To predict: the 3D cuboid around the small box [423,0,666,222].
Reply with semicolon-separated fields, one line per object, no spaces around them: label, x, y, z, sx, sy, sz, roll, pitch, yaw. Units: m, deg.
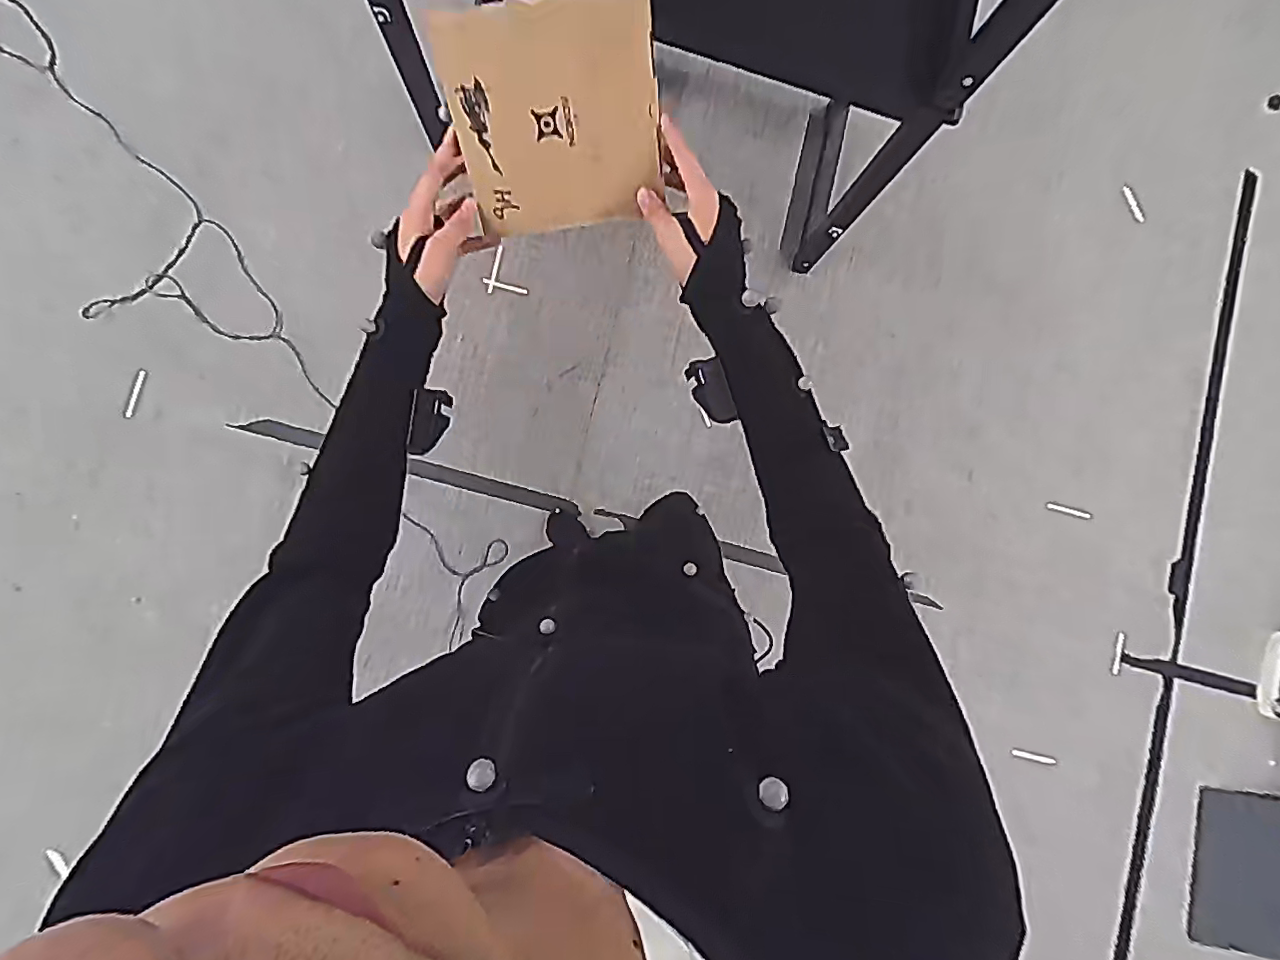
small box;-0.075;-0.362;0.512;0.179;0.176;0.168;-7;129;1
